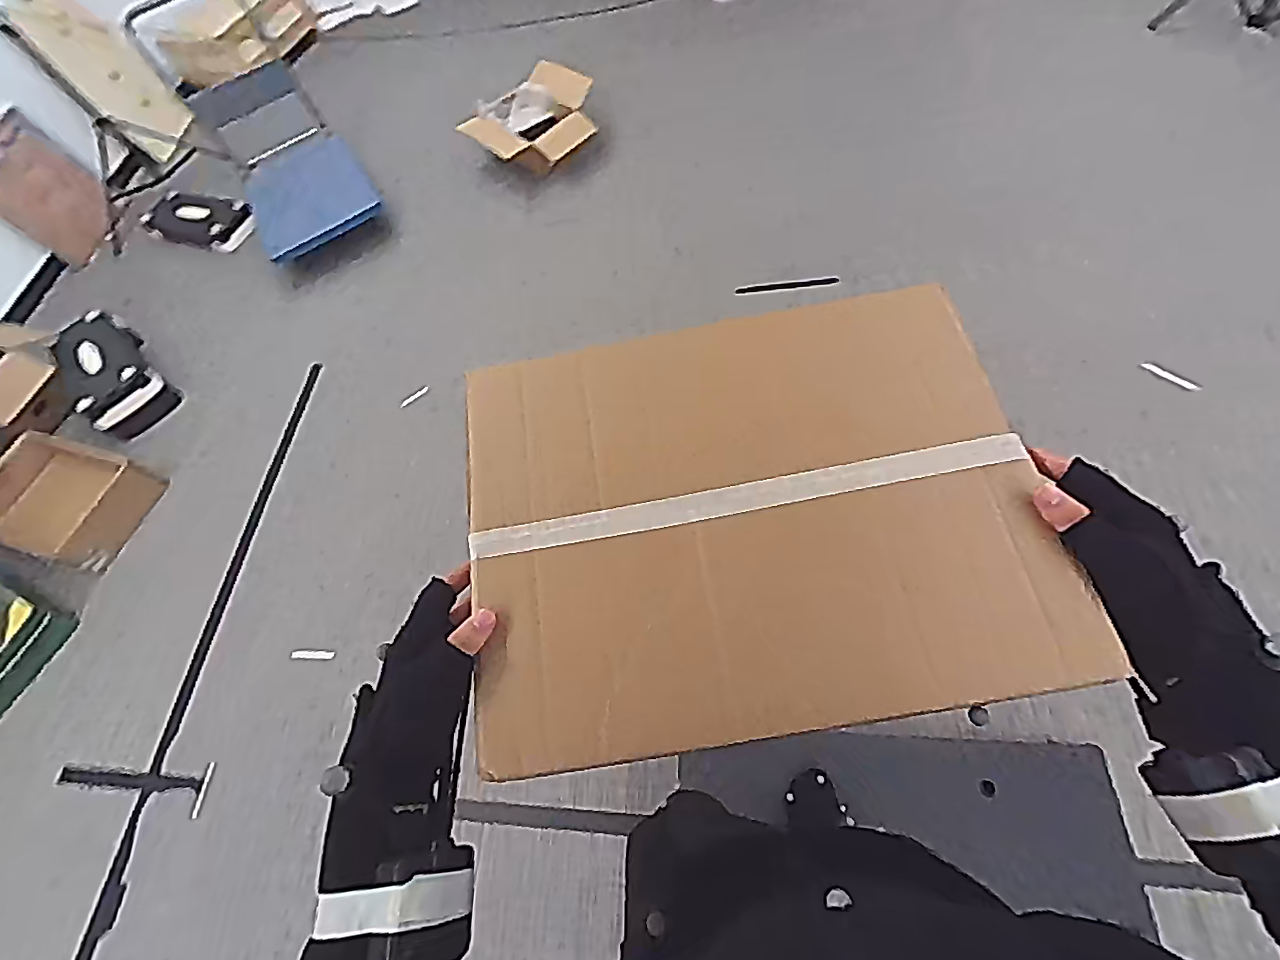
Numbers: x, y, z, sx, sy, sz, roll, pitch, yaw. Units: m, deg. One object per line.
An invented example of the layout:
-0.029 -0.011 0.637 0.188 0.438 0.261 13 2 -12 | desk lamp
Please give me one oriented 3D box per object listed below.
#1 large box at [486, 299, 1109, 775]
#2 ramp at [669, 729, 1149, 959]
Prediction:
0.099 0.074 0.541 0.408 0.320 0.320 -10 66 2 | large box
0.563 0.824 1.196 0.991 0.206 0.509 -3 61 8 | ramp
